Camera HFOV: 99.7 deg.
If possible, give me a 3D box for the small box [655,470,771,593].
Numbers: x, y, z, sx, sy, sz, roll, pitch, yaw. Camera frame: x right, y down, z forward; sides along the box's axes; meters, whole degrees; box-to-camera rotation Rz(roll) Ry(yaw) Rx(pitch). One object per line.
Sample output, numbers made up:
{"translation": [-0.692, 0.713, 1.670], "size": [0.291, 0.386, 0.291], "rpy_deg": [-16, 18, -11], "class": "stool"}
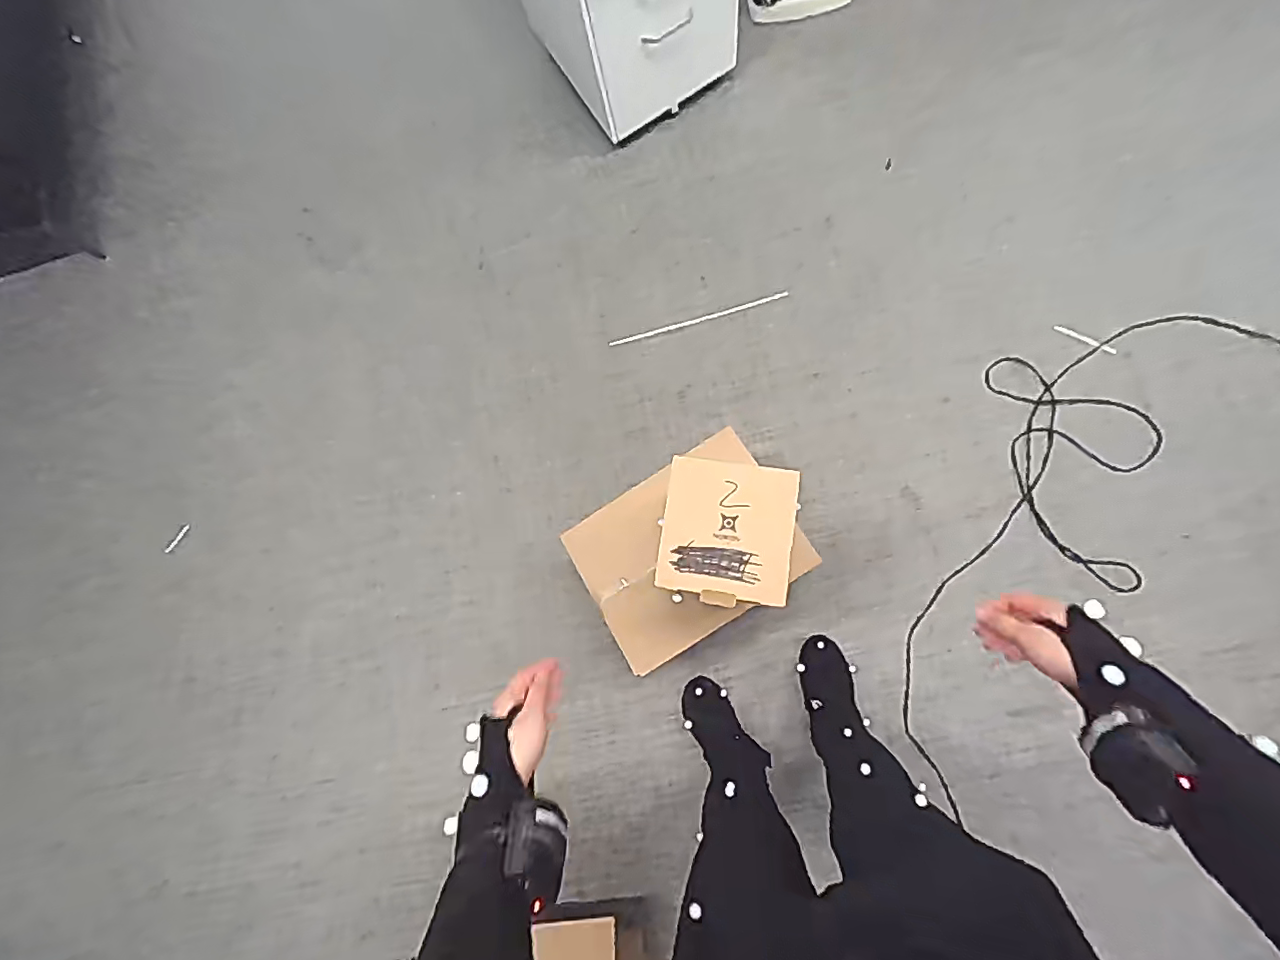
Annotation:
{"translation": [0.127, 0.090, 0.938], "size": [0.168, 0.176, 0.179], "rpy_deg": [8, 83, 9], "class": "small box"}
